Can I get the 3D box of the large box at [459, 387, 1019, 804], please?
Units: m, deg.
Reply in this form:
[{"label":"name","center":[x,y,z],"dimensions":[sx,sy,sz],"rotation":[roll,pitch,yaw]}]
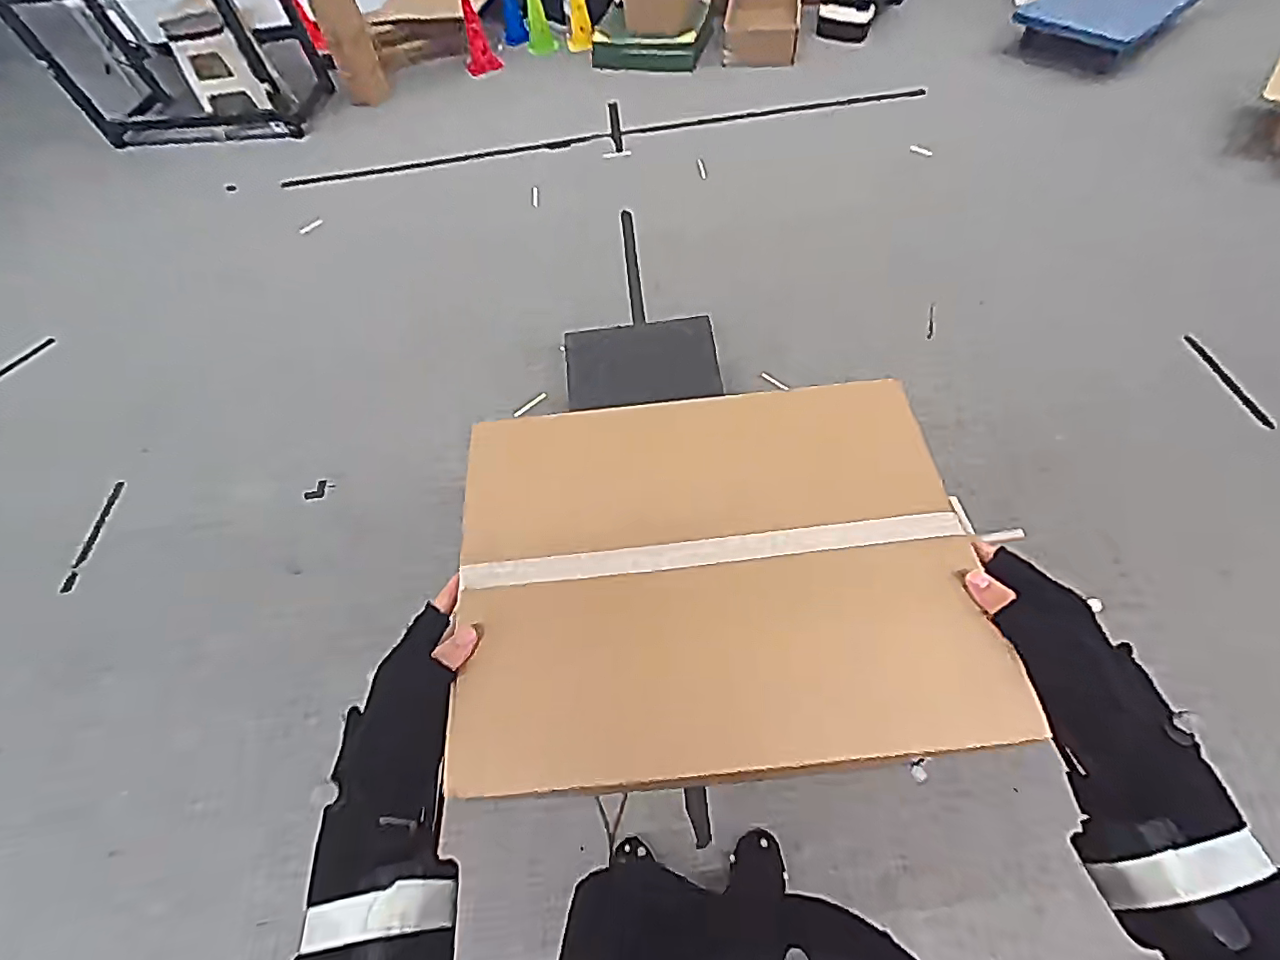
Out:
[{"label":"large box","center":[0.065,0.140,0.577],"dimensions":[0.408,0.320,0.320],"rotation":[-7,59,1]}]
